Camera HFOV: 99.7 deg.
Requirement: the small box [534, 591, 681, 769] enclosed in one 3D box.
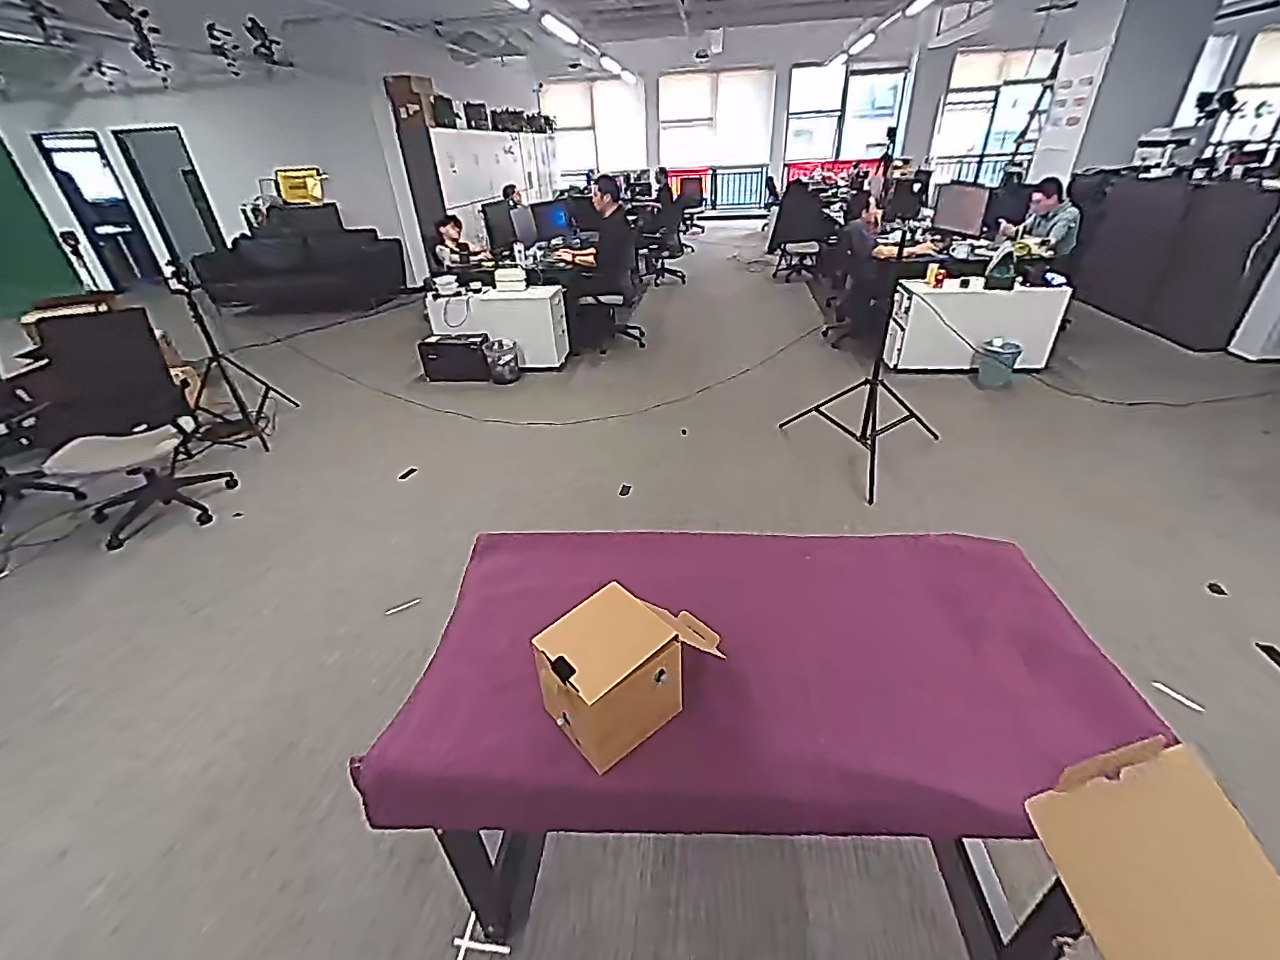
[{"bbox_3d":[-0.050,0.322,0.888,0.179,0.176,0.168,-25,36,-32],"label":"small box"}]
